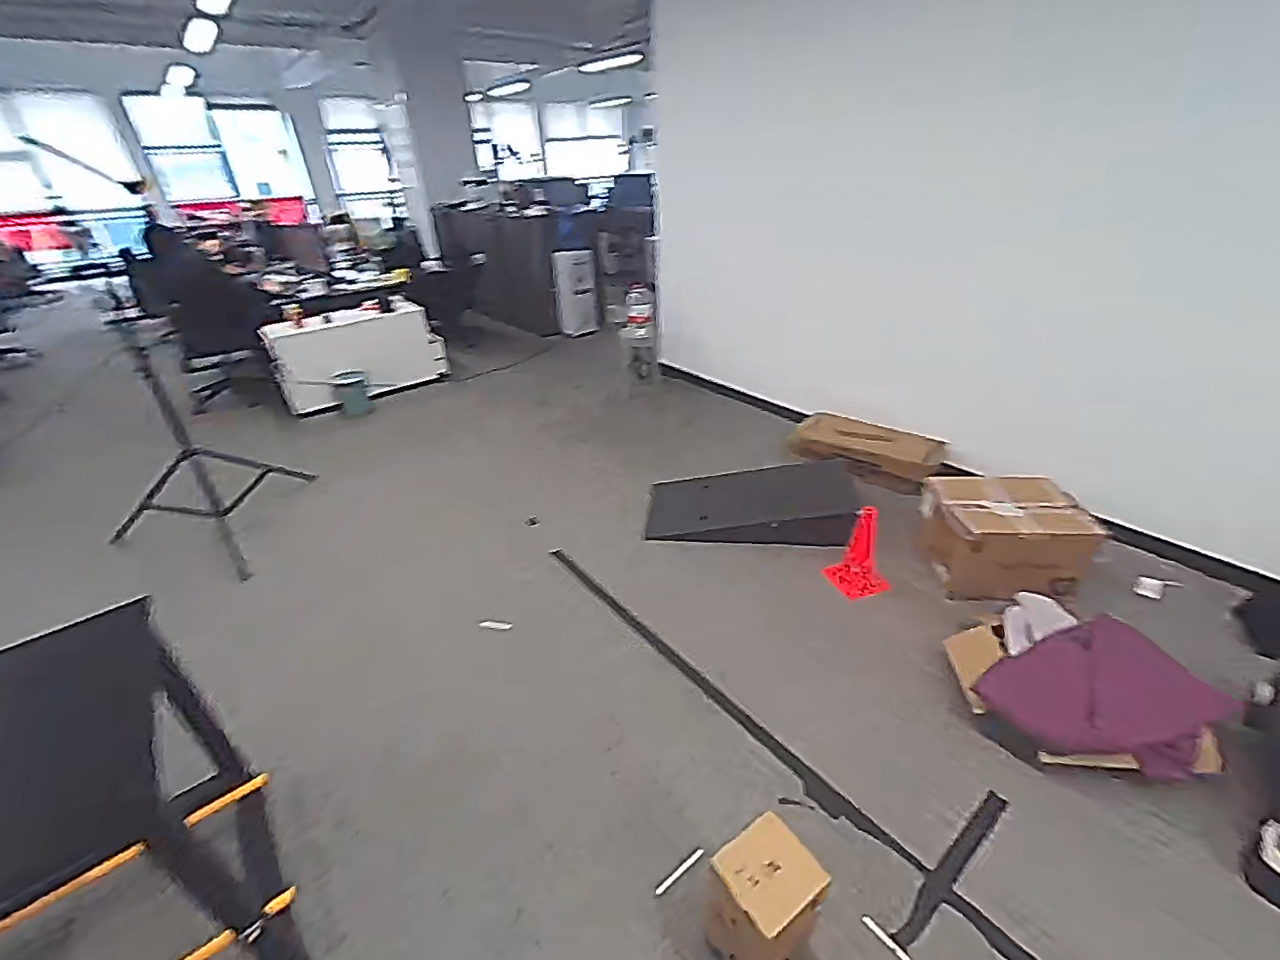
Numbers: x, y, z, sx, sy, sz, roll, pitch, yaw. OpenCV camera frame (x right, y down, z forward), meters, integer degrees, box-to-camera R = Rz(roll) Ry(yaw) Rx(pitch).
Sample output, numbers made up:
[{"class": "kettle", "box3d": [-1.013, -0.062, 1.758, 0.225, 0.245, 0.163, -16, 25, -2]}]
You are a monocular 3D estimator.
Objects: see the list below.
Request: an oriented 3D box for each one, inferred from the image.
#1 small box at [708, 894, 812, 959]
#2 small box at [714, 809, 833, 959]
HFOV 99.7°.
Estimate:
[{"class": "small box", "box3d": [0.269, 0.980, 1.200, 0.179, 0.176, 0.168, -25, 38, -31]}, {"class": "small box", "box3d": [0.266, 0.838, 1.115, 0.179, 0.176, 0.168, -21, 35, -27]}]
